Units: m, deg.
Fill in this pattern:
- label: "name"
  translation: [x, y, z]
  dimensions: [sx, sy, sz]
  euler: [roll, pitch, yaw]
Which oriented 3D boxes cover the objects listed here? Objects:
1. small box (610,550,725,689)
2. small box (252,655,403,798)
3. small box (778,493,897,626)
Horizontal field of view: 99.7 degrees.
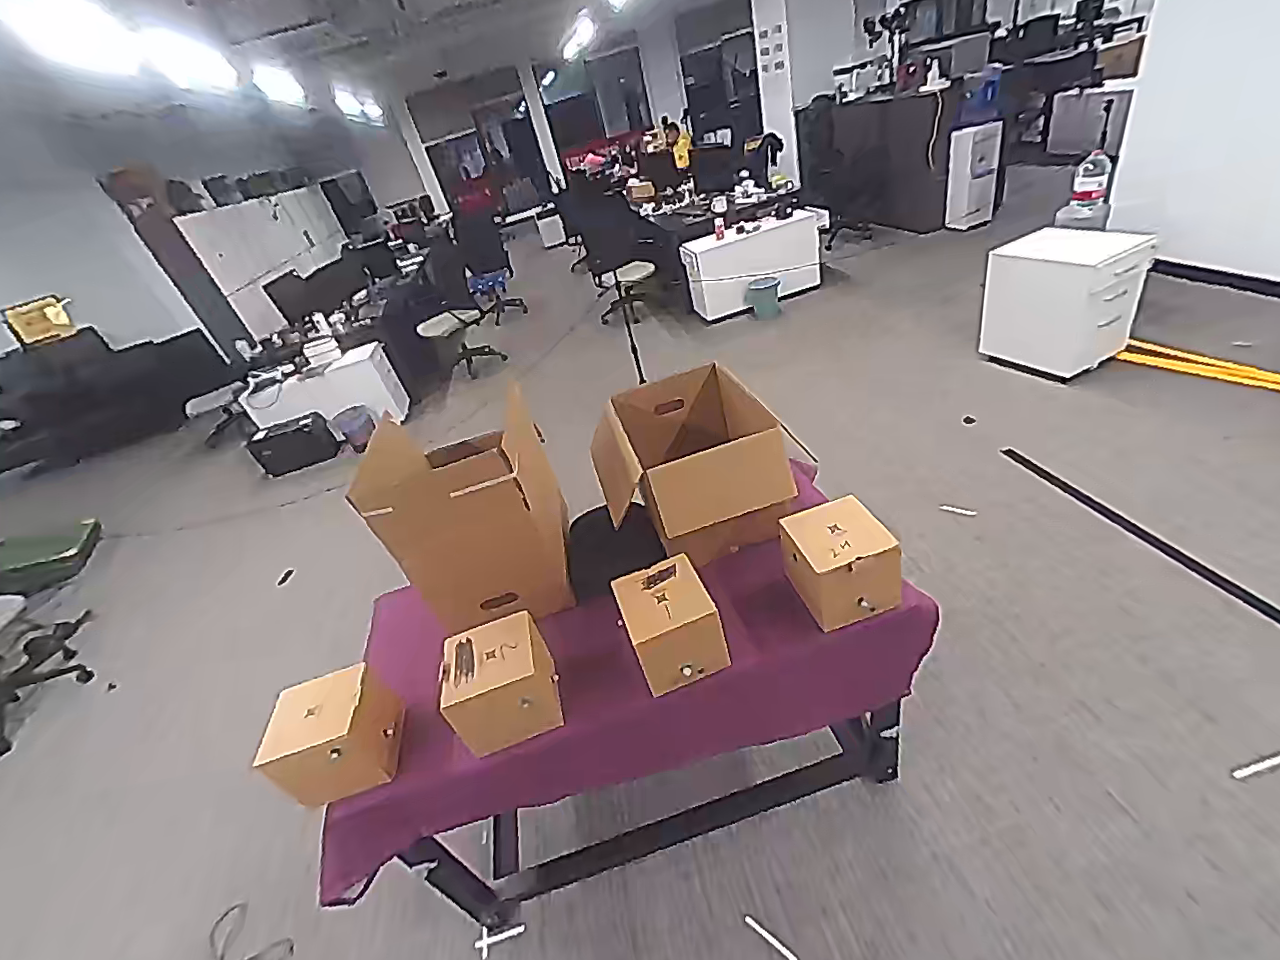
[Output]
- label: "small box"
  translation: [0.054, 0.276, 1.077]
  dimensions: [0.168, 0.176, 0.179]
  euler: [-21, 35, -5]
- label: "small box"
  translation: [-0.597, 0.484, 1.060]
  dimensions: [0.179, 0.176, 0.168]
  euler: [-18, 34, -4]
- label: "small box"
  translation: [0.395, 0.160, 1.093]
  dimensions: [0.168, 0.176, 0.179]
  euler: [-19, 34, -1]
